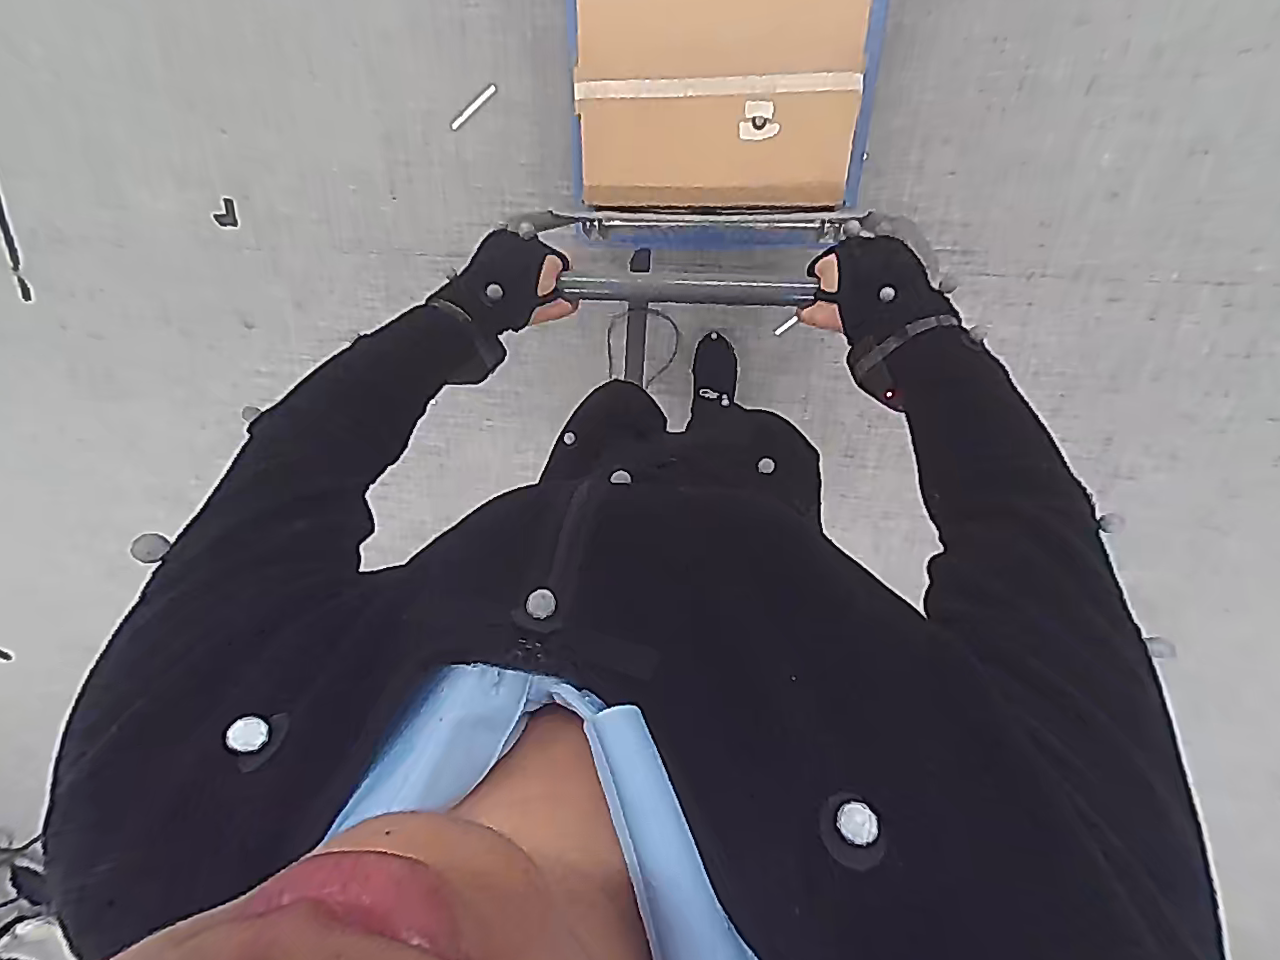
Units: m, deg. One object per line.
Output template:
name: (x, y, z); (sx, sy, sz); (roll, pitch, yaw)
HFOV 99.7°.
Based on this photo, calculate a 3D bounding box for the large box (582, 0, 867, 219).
large box: (0.132, -0.633, 0.935); (0.408, 0.320, 0.320); (3, 115, 7)
